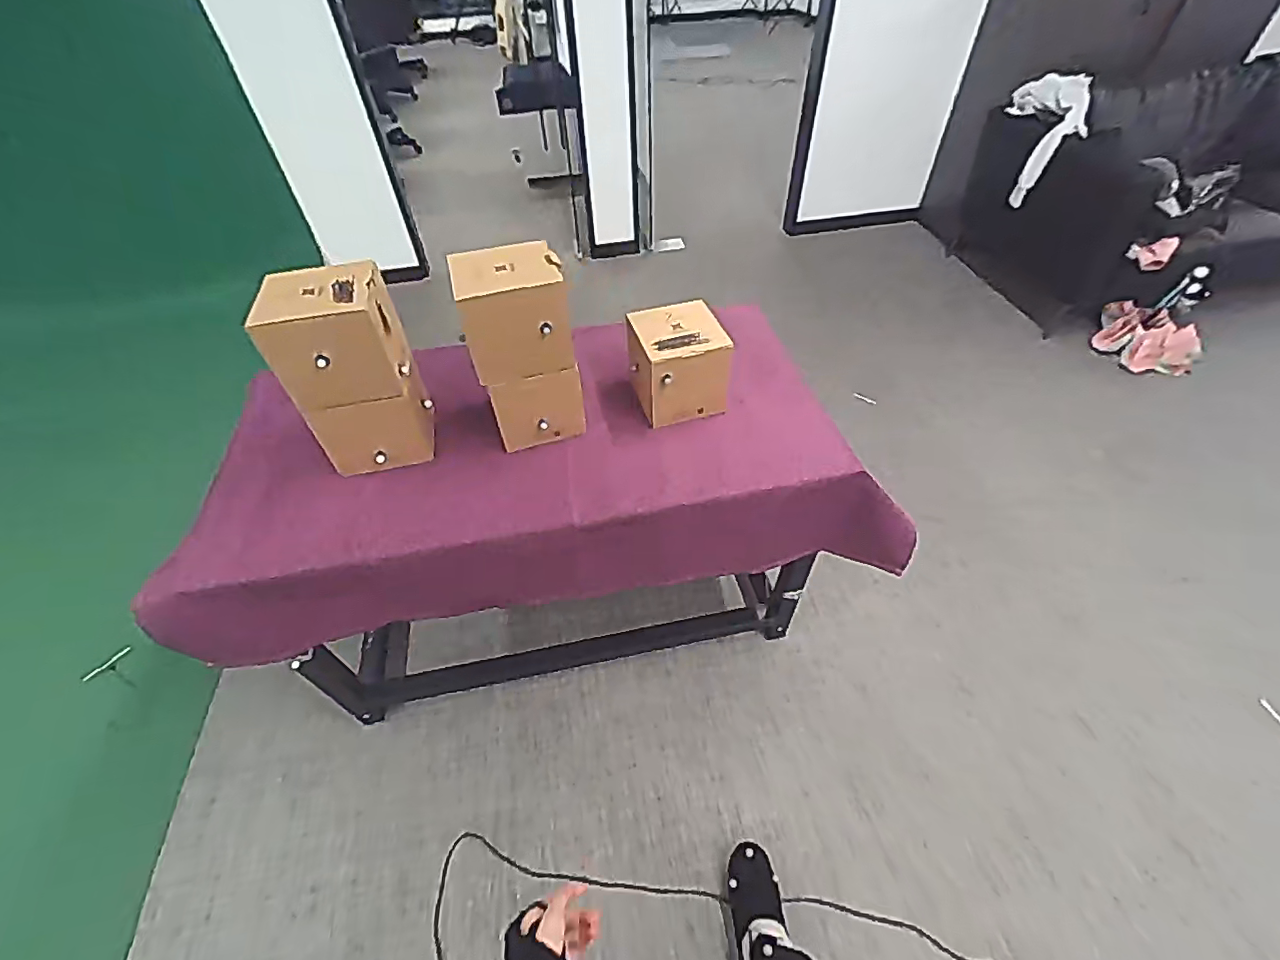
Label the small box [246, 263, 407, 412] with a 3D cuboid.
[{"bbox_3d":[-0.512,-0.239,0.916,0.179,0.176,0.168,-12,50,-7],"label":"small box"}]

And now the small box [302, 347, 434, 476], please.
[{"bbox_3d":[-0.508,-0.131,1.040,0.179,0.176,0.168,-11,49,-8],"label":"small box"}]

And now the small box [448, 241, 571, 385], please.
[{"bbox_3d":[-0.224,-0.292,0.954,0.179,0.176,0.168,-14,49,-9],"label":"small box"}]

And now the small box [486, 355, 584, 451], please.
[{"bbox_3d":[-0.217,-0.188,1.079,0.168,0.176,0.179,-16,51,-10],"label":"small box"}]
